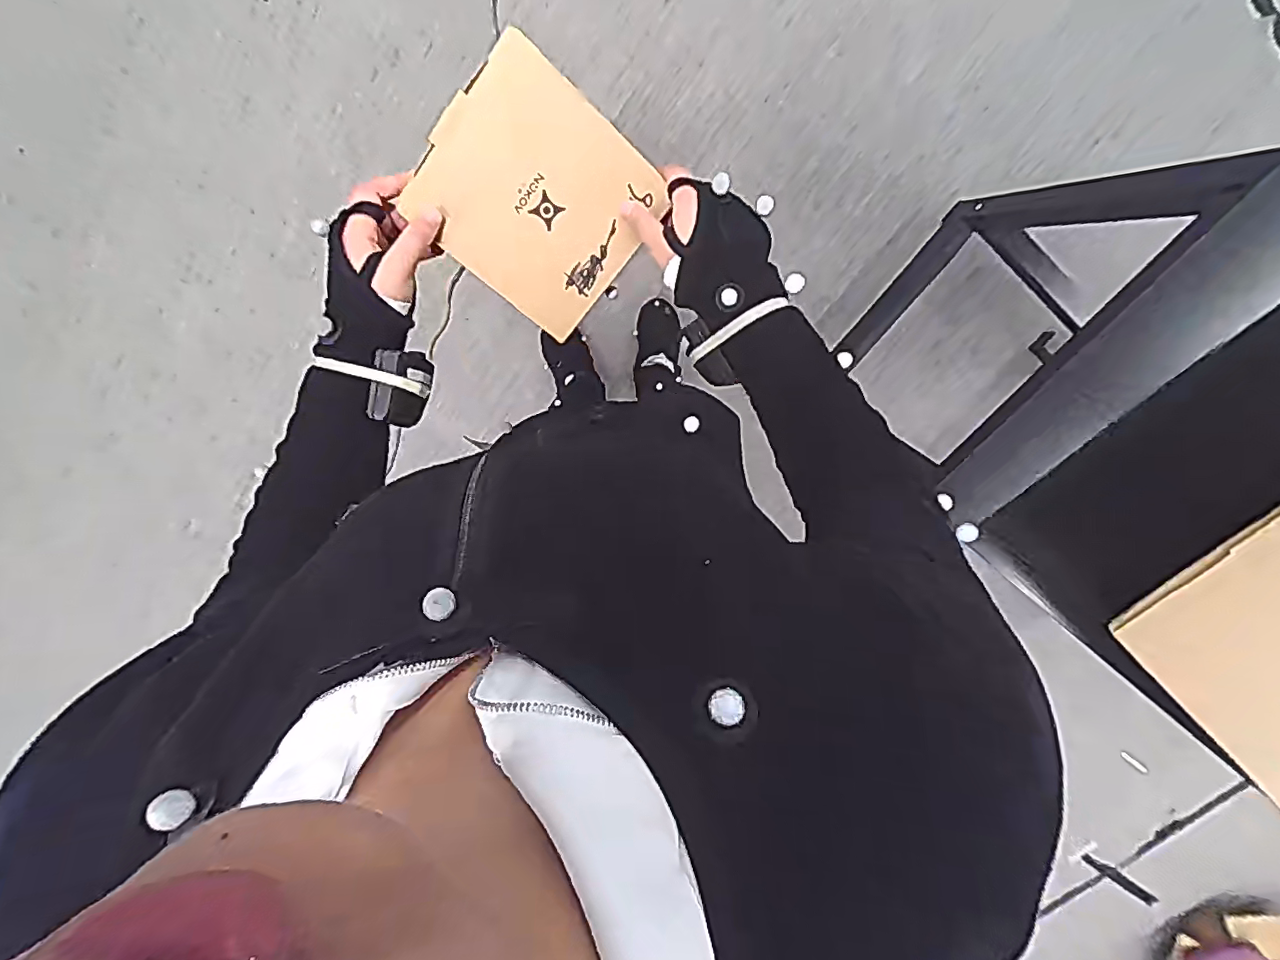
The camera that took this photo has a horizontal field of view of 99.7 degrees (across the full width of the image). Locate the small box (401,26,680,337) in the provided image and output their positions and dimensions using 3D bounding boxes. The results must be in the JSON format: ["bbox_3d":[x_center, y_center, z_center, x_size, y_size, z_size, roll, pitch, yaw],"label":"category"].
[{"bbox_3d":[-0.090,-0.270,0.525,0.179,0.176,0.168,37,107,-22],"label":"small box"}]
